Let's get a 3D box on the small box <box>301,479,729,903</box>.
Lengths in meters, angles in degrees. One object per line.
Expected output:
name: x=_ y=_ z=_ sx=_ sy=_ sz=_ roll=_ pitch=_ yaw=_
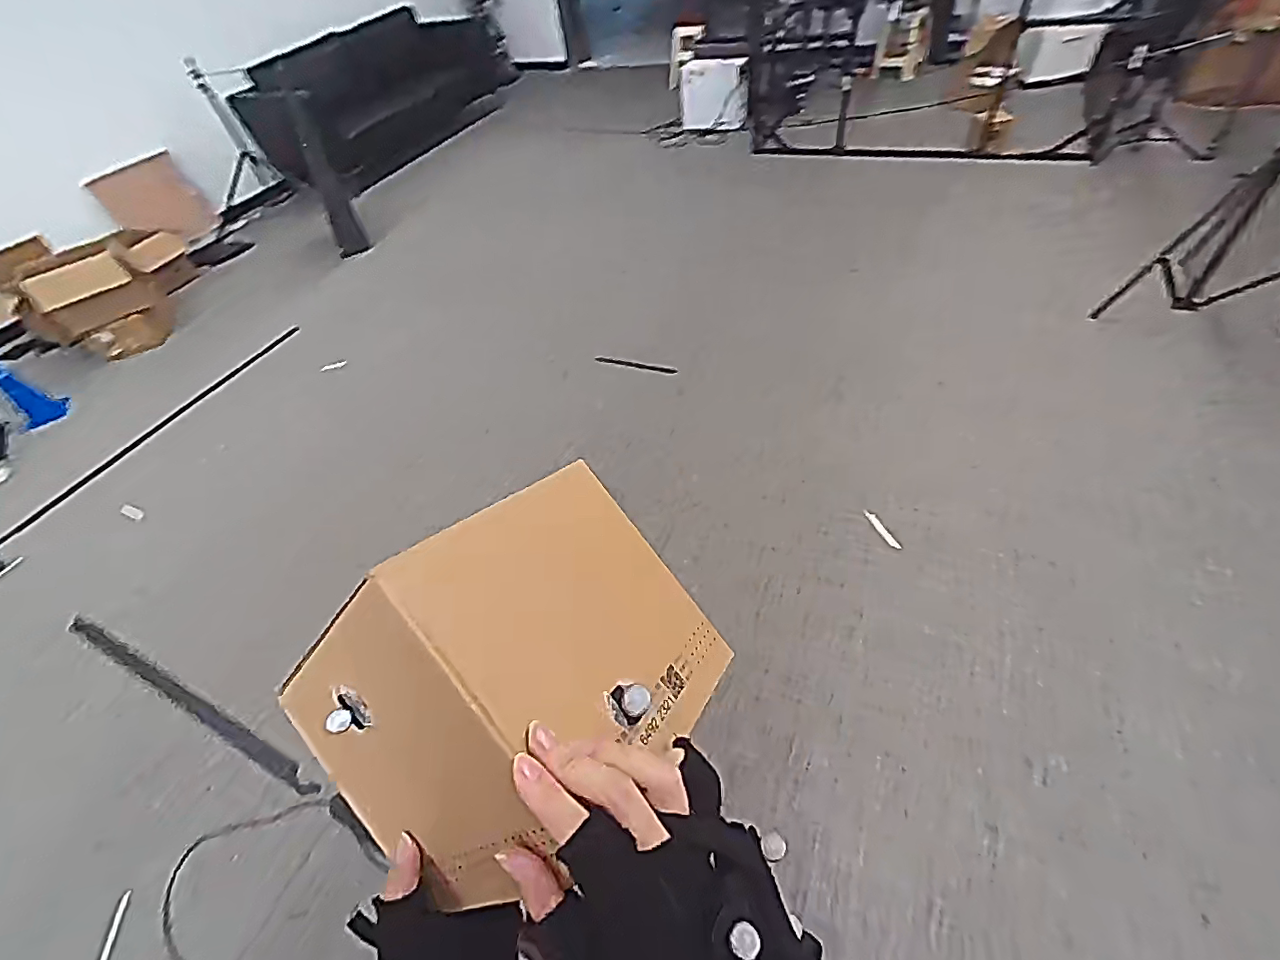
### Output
small box: x=-0.076 y=0.134 z=0.355 sx=0.176 sy=0.179 sz=0.168 roll=50 pitch=36 yaw=3
